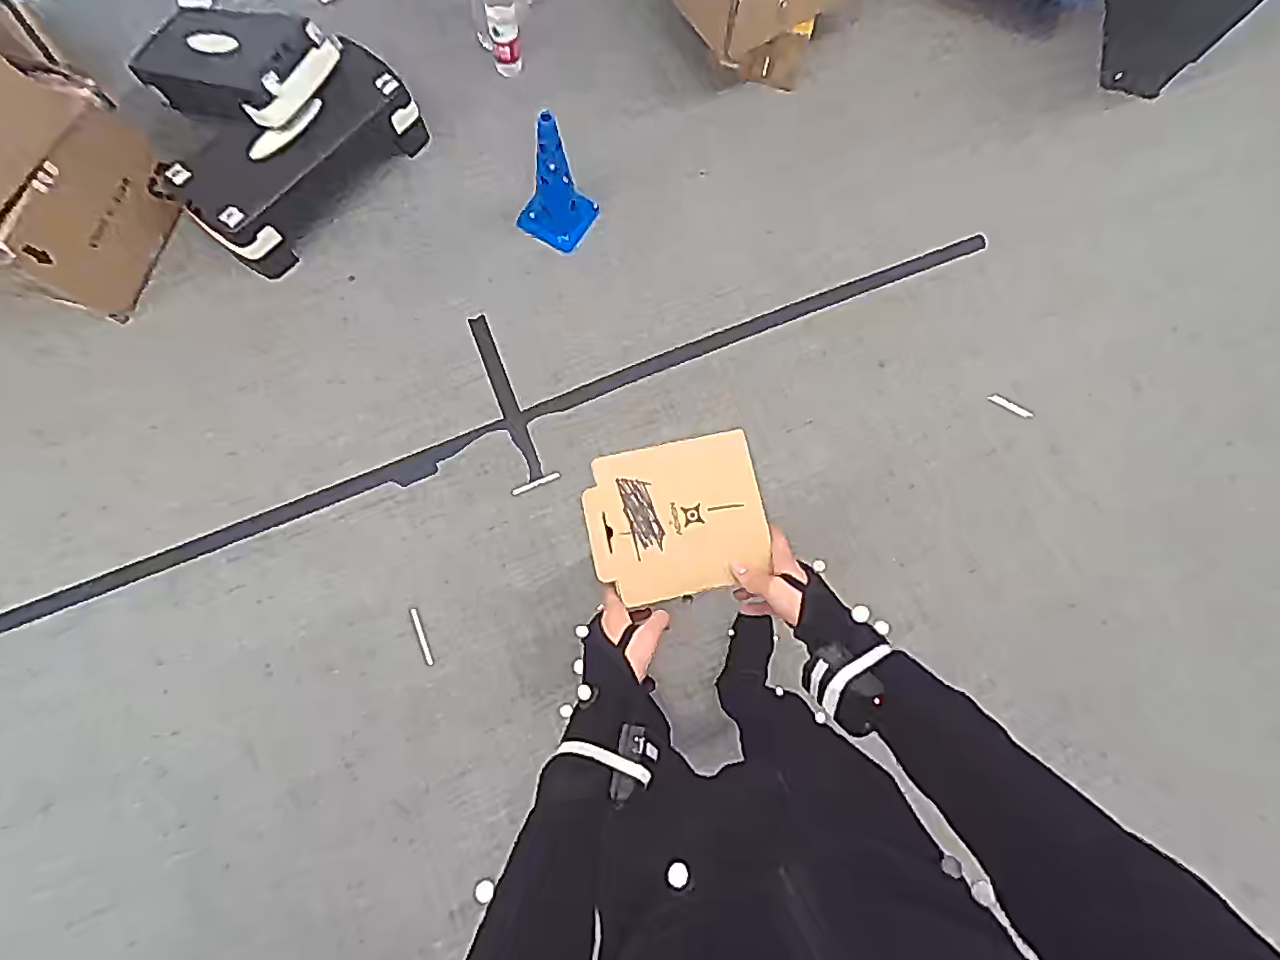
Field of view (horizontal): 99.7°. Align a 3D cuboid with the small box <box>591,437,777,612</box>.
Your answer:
[{"bbox_3d":[0.043,0.060,0.659,0.179,0.176,0.168,-11,81,-6],"label":"small box"}]
